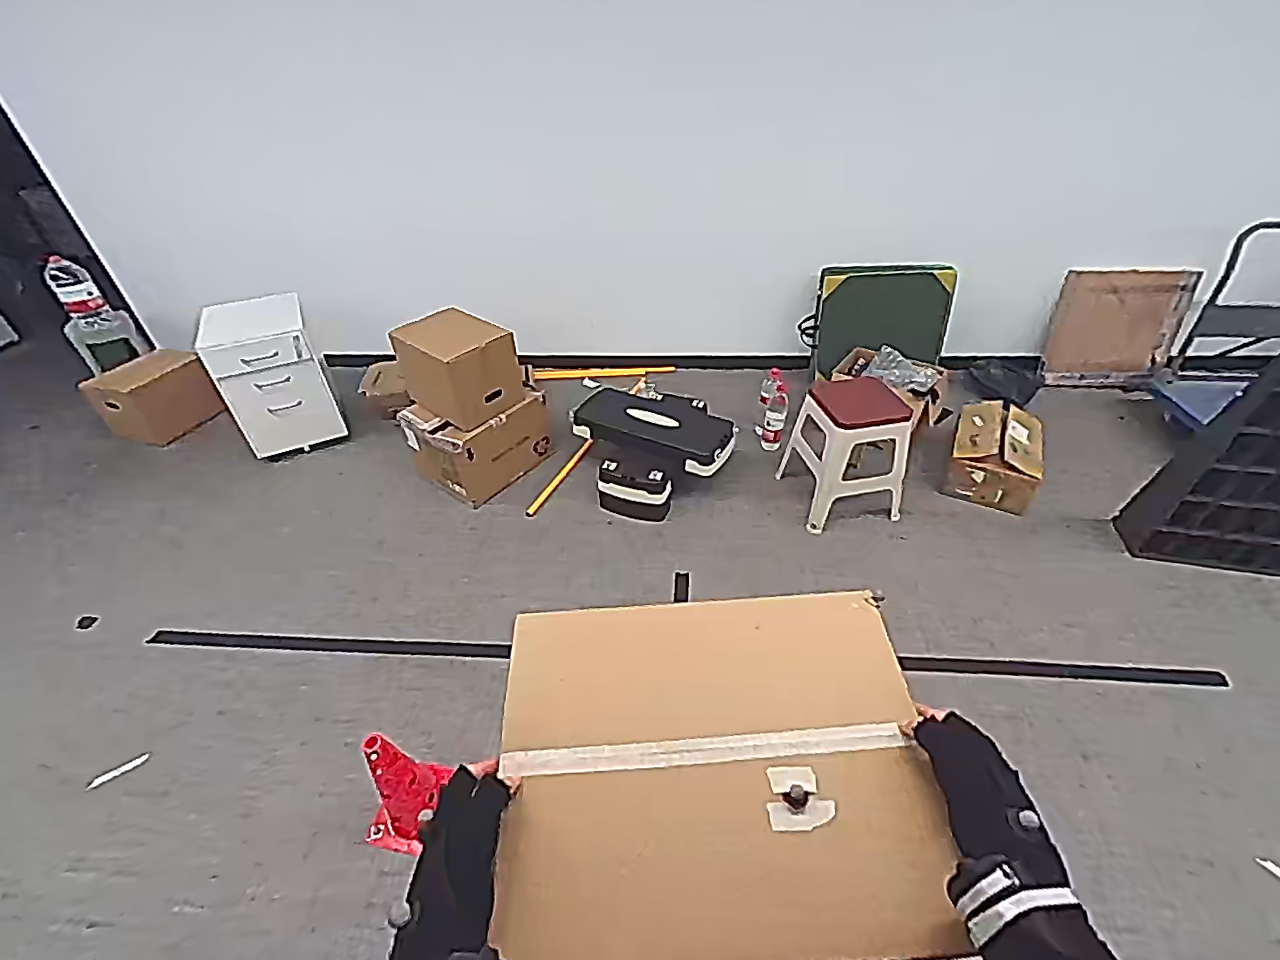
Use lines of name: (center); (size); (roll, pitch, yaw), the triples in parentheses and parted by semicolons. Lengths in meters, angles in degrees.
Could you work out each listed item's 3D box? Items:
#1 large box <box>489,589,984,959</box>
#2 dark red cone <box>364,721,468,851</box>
large box: (0.072, 0.354, 0.632); (0.408, 0.320, 0.320); (-4, 48, -1)
dark red cone: (-0.559, 0.677, 1.253); (0.201, 0.394, 0.202); (6, 40, 9)
